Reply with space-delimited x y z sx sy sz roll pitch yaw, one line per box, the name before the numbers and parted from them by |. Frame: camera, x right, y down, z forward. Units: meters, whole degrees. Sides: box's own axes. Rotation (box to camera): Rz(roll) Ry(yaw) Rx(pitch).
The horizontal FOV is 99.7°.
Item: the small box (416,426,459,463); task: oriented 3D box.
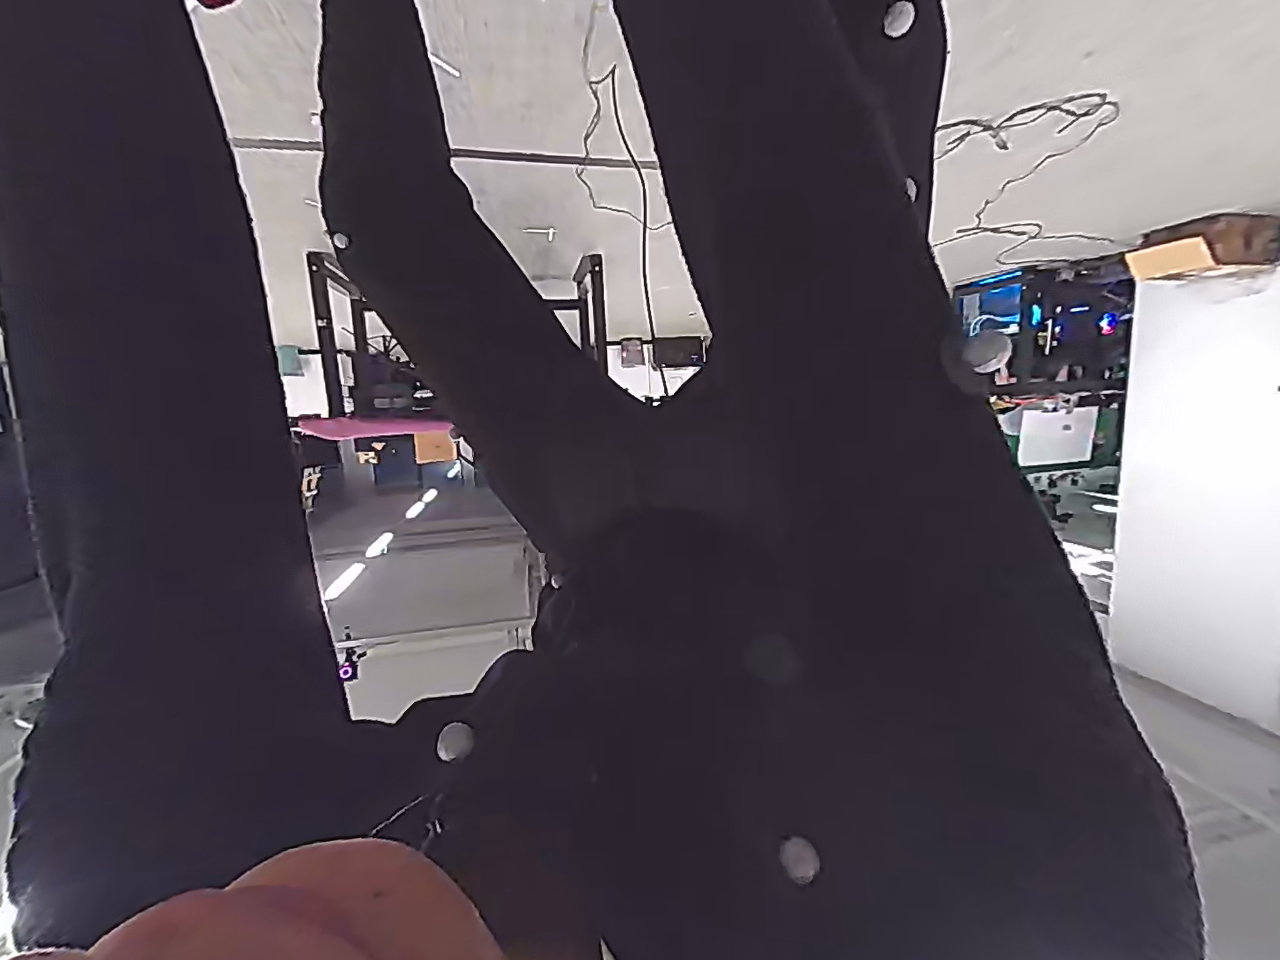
small box | -1.021 -0.183 2.727 0.179 0.176 0.168 -6 -174 -13
